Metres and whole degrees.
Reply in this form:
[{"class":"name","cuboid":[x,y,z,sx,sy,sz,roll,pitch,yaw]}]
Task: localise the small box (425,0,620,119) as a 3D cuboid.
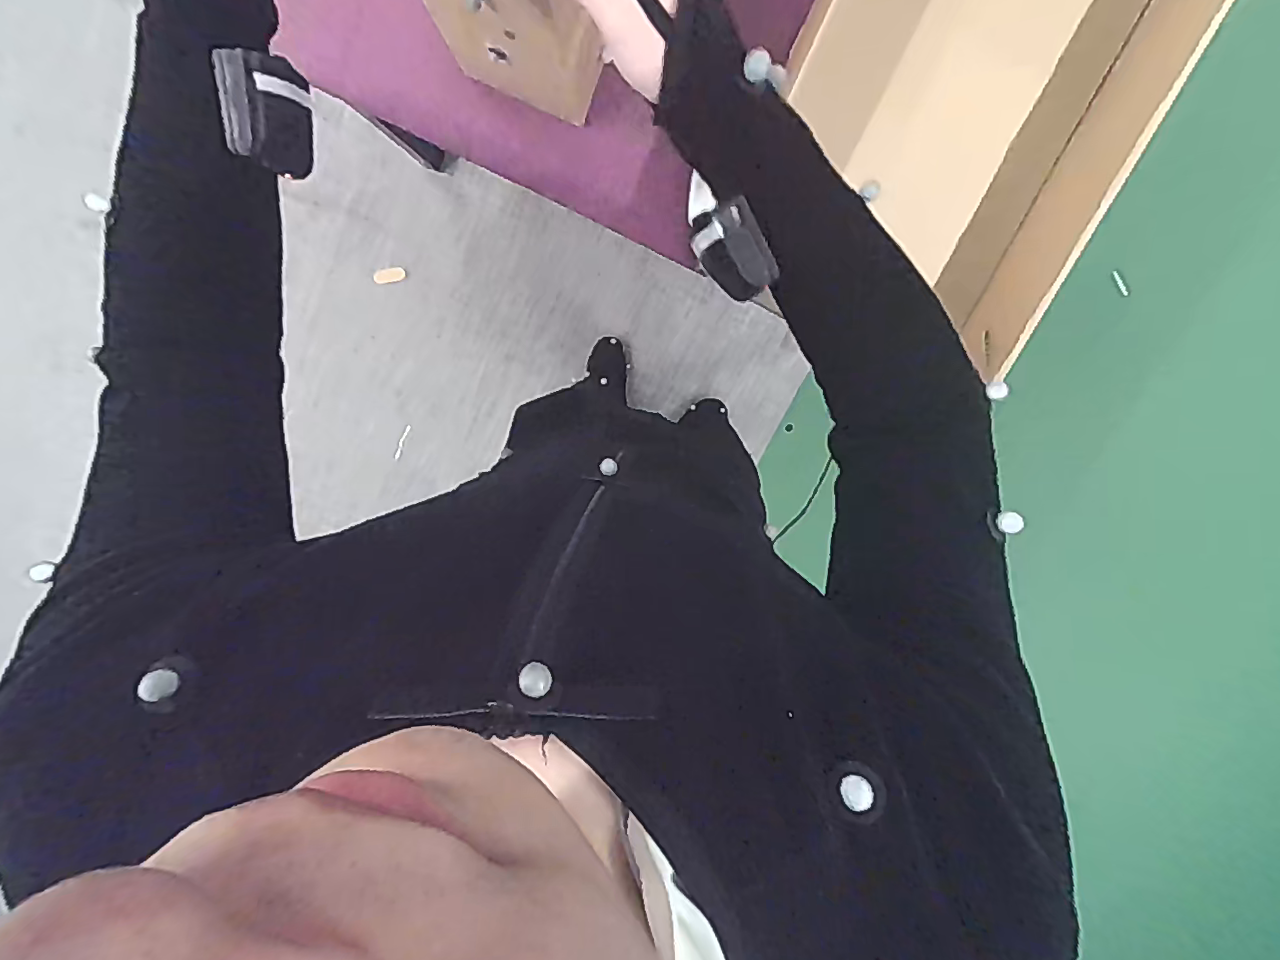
[{"class":"small box","cuboid":[-0.131,-0.584,0.660,0.179,0.176,0.168,21,102,-7]}]
